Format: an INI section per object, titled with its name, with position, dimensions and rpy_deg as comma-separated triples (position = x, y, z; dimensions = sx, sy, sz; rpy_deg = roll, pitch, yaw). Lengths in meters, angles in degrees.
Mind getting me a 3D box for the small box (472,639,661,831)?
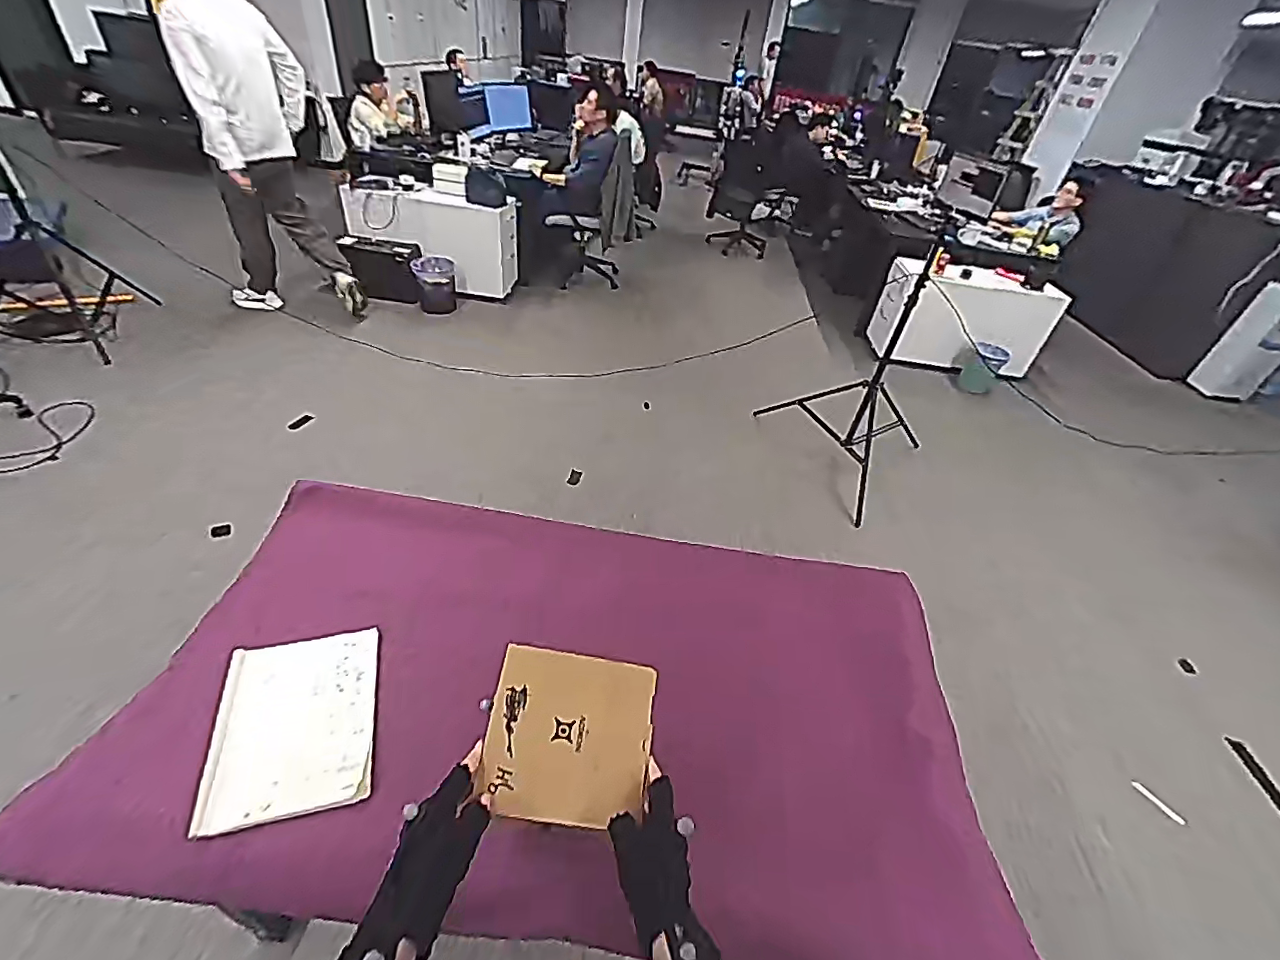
[small box]
position = -0.087, 0.305, 0.639
dimensions = 0.179, 0.176, 0.168
rpy_deg = 13, 55, -7
